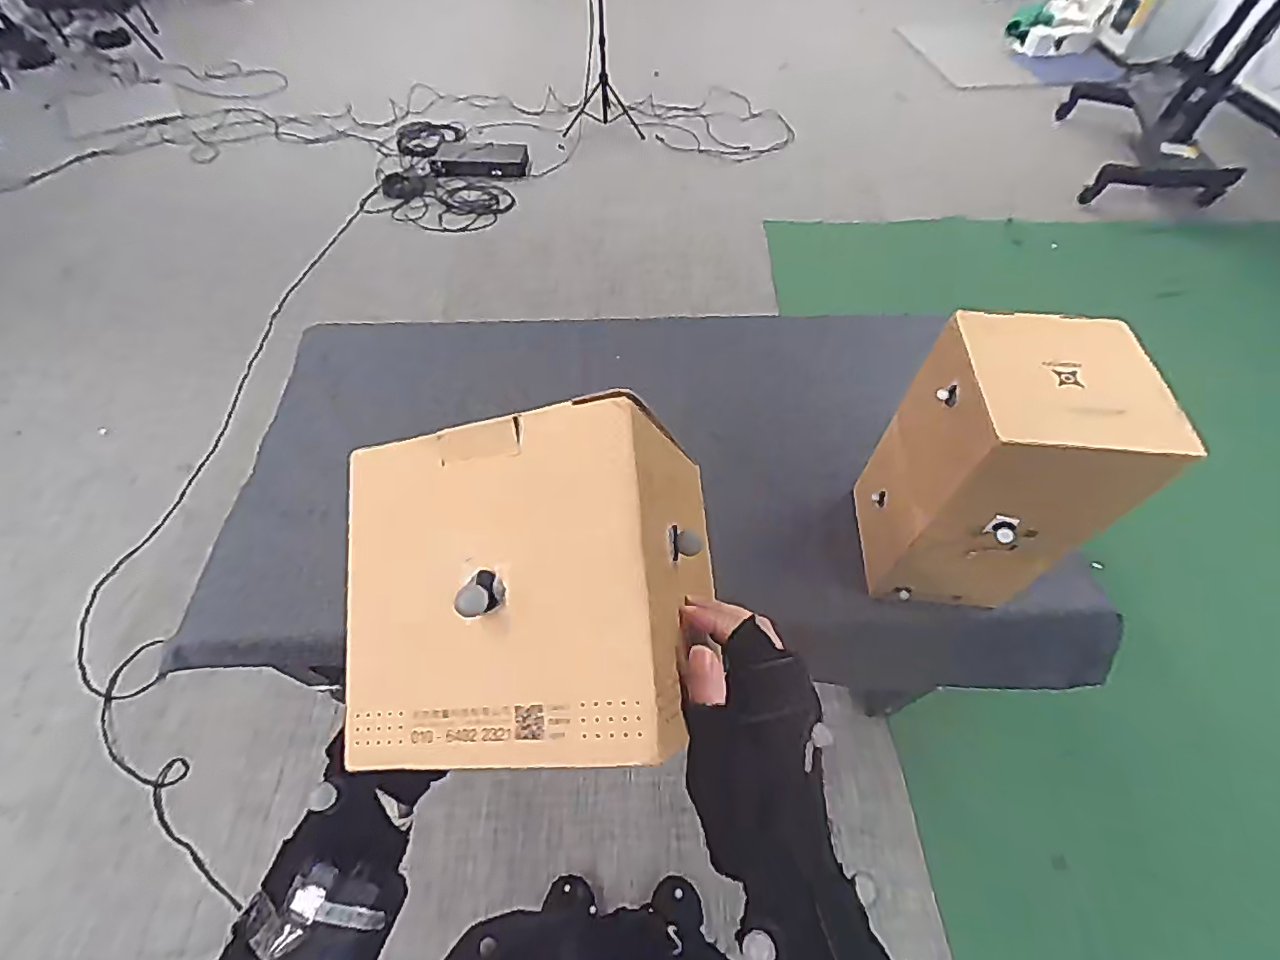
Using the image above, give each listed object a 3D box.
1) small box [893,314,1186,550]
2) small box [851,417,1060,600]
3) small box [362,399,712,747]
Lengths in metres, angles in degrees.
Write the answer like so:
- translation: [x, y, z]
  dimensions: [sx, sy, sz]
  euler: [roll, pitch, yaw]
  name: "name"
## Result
- translation: [0.388, -0.047, 0.571]
  dimensions: [0.168, 0.176, 0.179]
  euler: [5, 56, 5]
  name: "small box"
- translation: [0.390, 0.042, 0.706]
  dimensions: [0.168, 0.176, 0.179]
  euler: [5, 54, 3]
  name: "small box"
- translation: [-0.051, 0.063, 0.354]
  dimensions: [0.168, 0.179, 0.176]
  euler: [-7, 79, 15]
  name: "small box"
